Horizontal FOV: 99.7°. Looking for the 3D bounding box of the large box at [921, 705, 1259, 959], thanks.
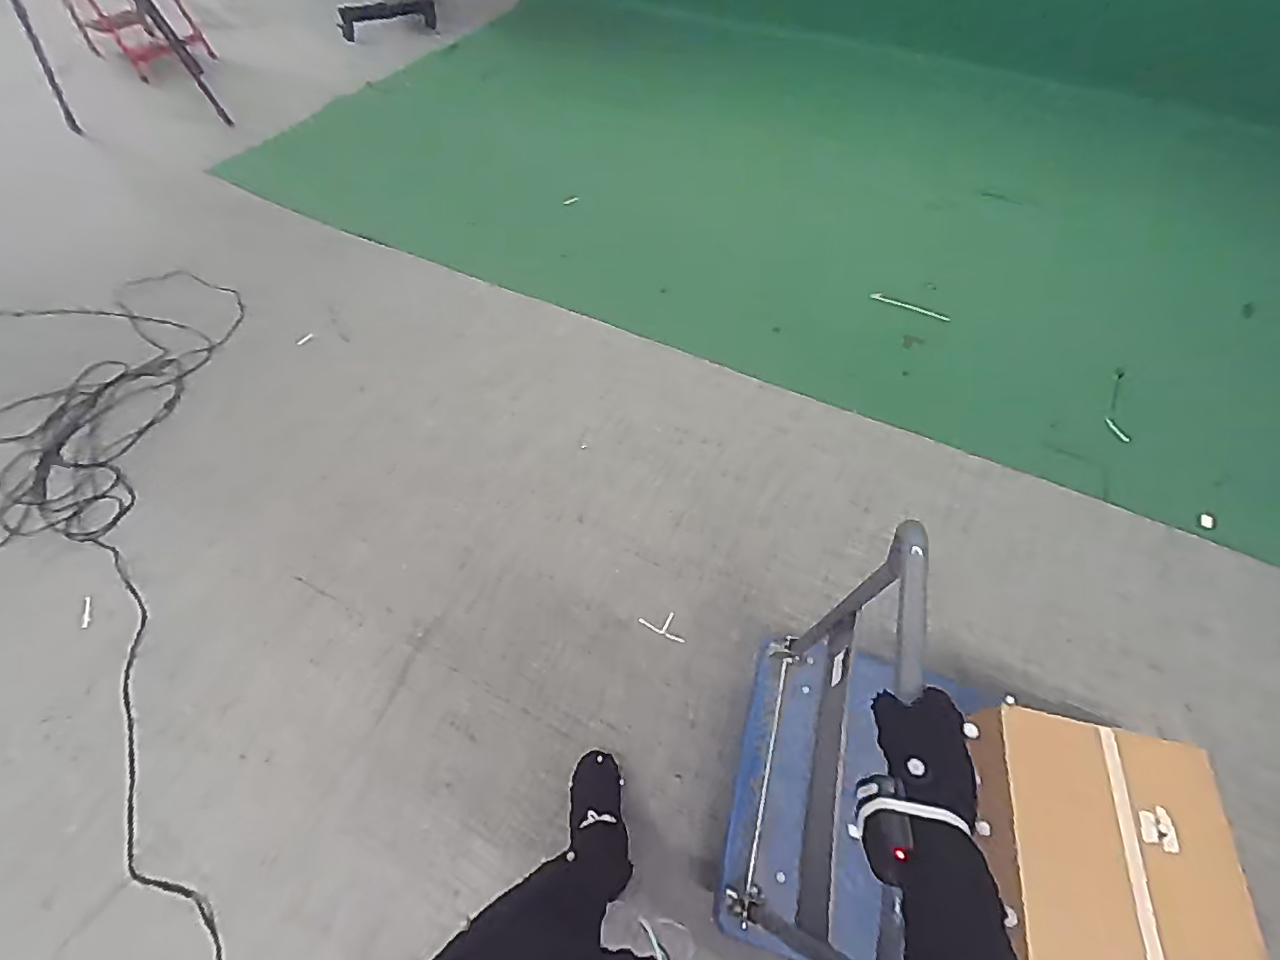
[{"bbox_3d":[0.694,0.648,0.898,0.320,0.320,0.408,12,57,7],"label":"large box"}]
